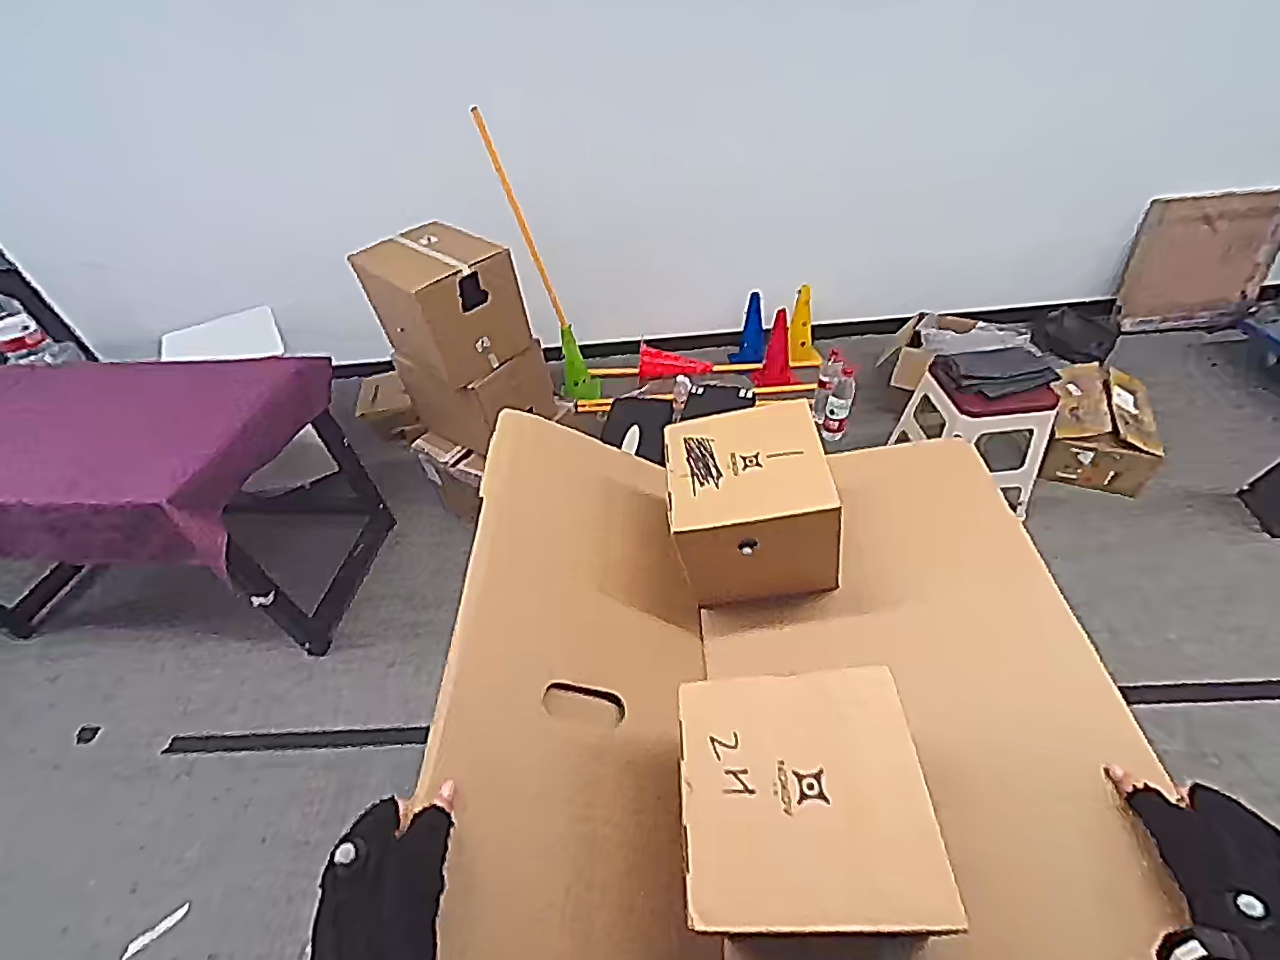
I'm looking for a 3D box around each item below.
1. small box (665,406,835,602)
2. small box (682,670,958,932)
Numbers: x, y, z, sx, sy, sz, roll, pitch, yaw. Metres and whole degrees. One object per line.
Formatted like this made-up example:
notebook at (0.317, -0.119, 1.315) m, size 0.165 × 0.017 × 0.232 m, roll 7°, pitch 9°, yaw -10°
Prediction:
small box at (0.136, 0.037, 0.671) m, size 0.179 × 0.176 × 0.168 m, roll -10°, pitch 49°, yaw 10°
small box at (0.138, 0.278, 0.464) m, size 0.179 × 0.176 × 0.168 m, roll -9°, pitch 48°, yaw 12°
